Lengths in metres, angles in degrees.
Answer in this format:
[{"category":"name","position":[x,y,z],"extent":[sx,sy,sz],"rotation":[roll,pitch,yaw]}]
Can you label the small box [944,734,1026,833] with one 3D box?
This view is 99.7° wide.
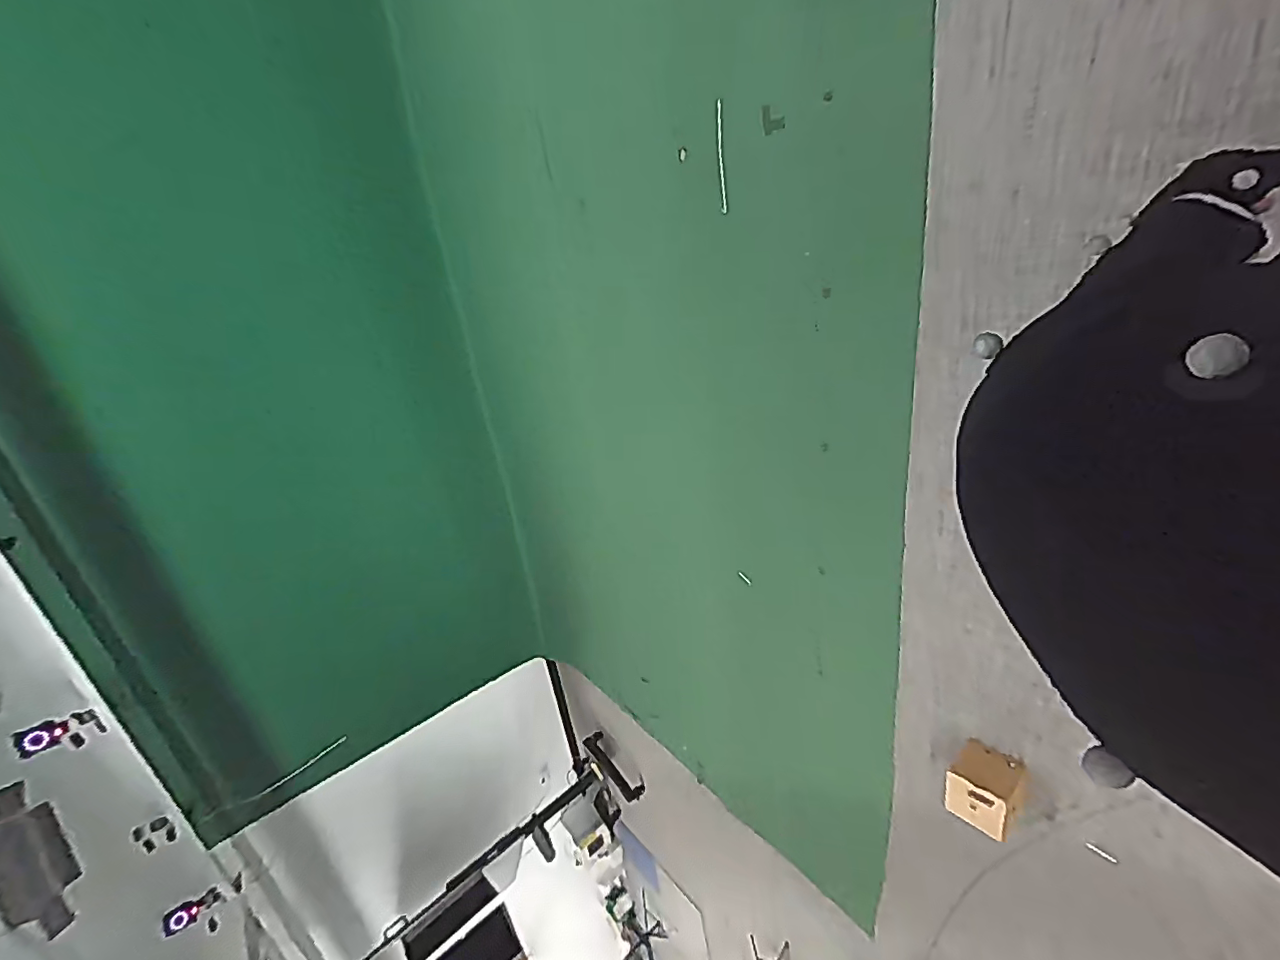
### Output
[{"category":"small box","position":[1.086,0.946,1.702],"extent":[0.168,0.176,0.179],"rotation":[18,125,50]}]
